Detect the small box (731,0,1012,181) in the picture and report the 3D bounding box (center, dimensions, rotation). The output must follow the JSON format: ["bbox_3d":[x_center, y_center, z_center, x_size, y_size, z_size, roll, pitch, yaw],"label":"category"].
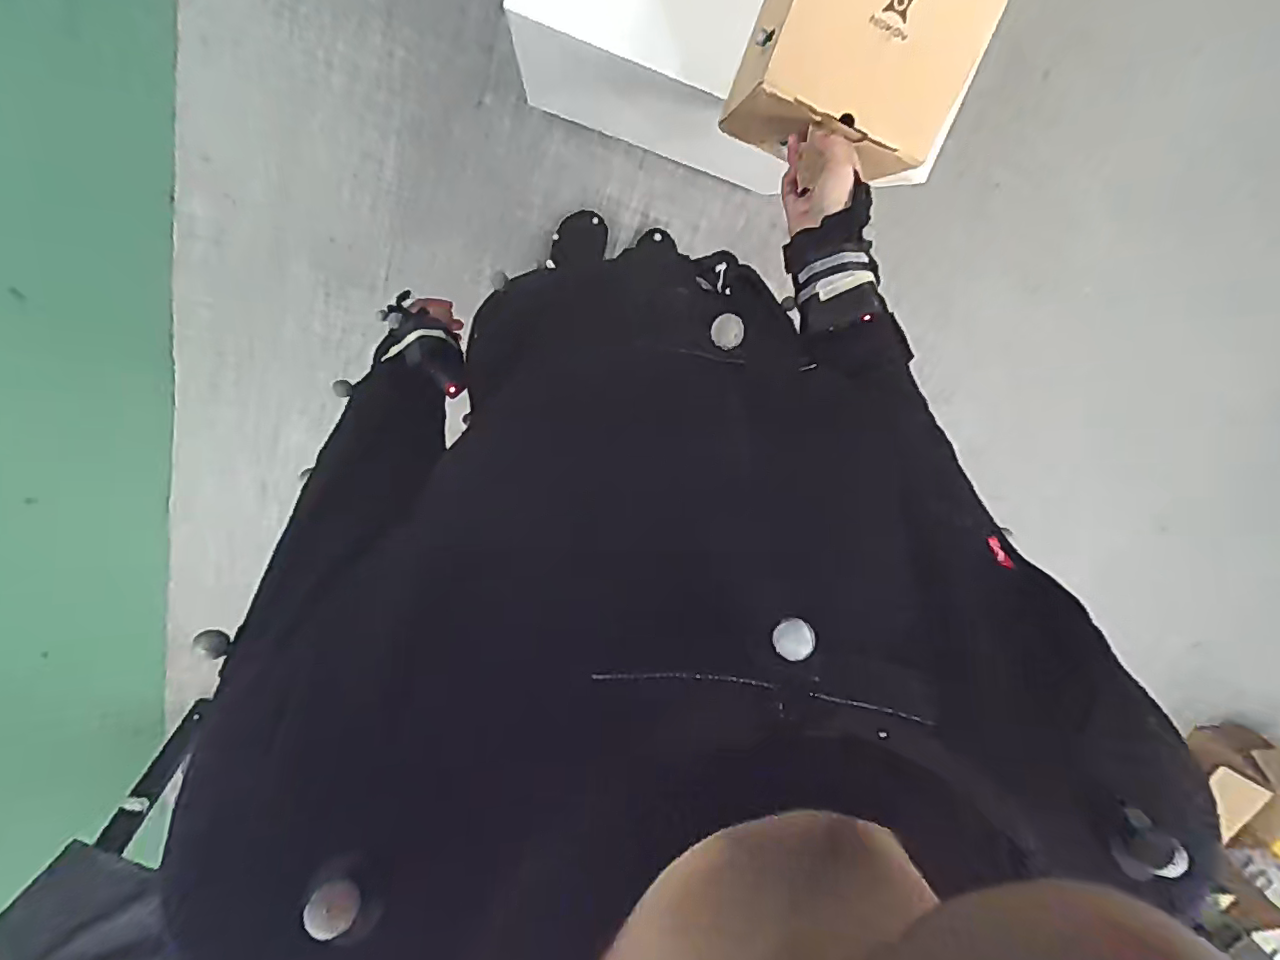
[{"bbox_3d":[0.202,-0.407,0.503,0.168,0.176,0.179,17,111,-12],"label":"small box"}]
